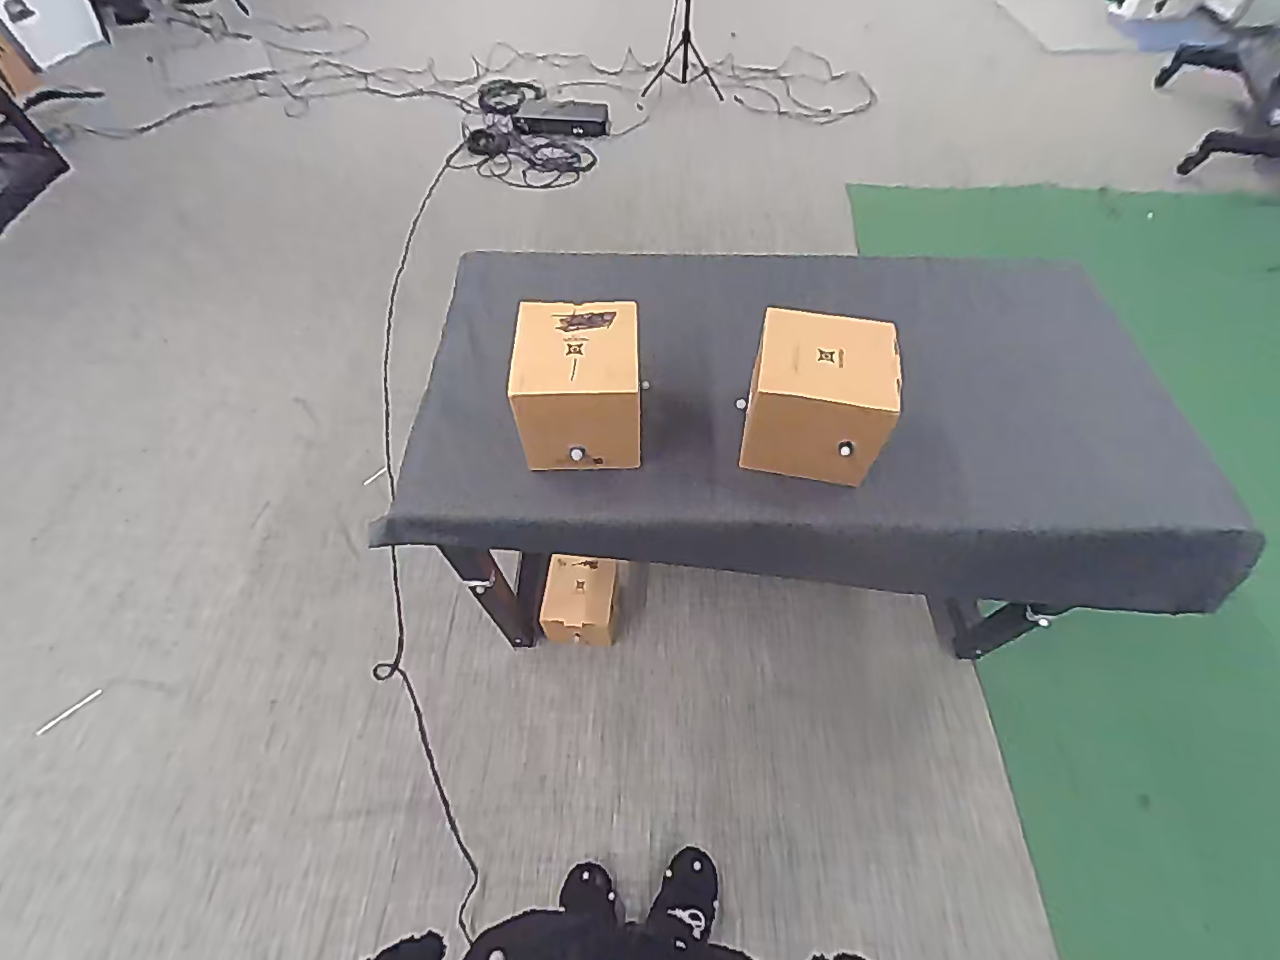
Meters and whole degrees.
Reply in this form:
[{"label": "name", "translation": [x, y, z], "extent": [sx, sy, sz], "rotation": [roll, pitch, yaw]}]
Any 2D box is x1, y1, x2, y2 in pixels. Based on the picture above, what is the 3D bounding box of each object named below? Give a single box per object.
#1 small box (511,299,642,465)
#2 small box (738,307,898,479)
[{"label": "small box", "translation": [-0.082, -0.140, 0.785], "extent": [0.168, 0.176, 0.179], "rotation": [-1, 57, -1]}, {"label": "small box", "translation": [0.246, -0.119, 0.777], "extent": [0.179, 0.176, 0.168], "rotation": [9, 56, 7]}]
